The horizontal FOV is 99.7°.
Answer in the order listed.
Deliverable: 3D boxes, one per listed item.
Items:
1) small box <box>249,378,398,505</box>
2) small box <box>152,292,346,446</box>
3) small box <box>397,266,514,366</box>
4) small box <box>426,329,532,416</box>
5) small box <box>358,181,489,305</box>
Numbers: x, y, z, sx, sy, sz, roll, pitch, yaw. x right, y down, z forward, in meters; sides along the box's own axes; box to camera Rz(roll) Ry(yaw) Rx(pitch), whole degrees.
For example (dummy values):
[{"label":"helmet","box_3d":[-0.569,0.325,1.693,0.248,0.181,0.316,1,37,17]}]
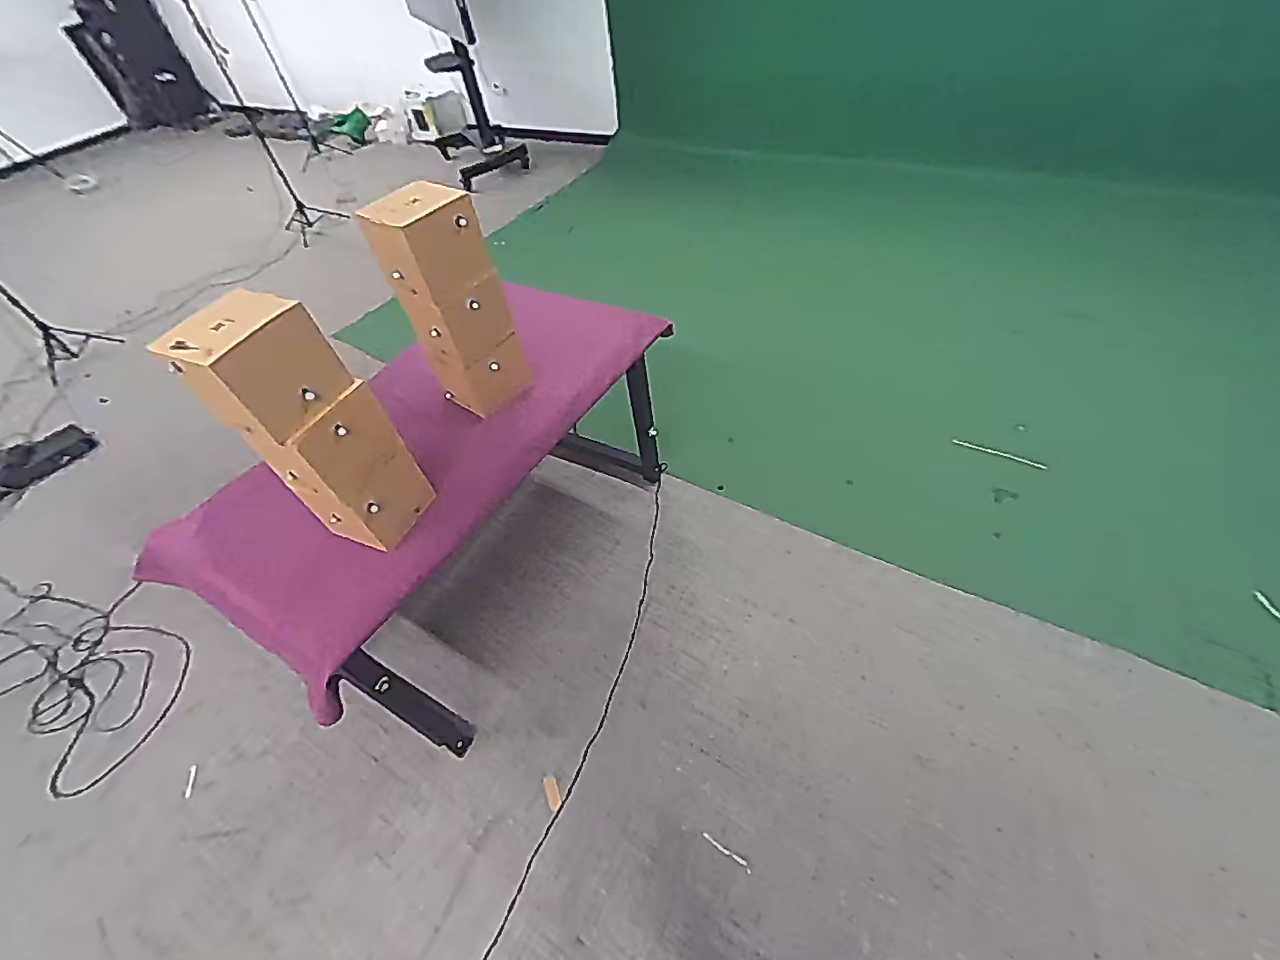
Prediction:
[{"label":"small box","box_3d":[-0.594,-0.083,1.028,0.168,0.176,0.179,15,54,22]},{"label":"small box","box_3d":[-0.633,-0.187,0.906,0.168,0.176,0.179,16,54,23]},{"label":"small box","box_3d":[-0.424,-0.397,1.273,0.168,0.176,0.179,28,59,28]},{"label":"small box","box_3d":[-0.407,-0.294,1.397,0.168,0.176,0.179,29,58,29]},{"label":"small box","box_3d":[-0.446,-0.504,1.150,0.168,0.176,0.179,27,59,28]}]
